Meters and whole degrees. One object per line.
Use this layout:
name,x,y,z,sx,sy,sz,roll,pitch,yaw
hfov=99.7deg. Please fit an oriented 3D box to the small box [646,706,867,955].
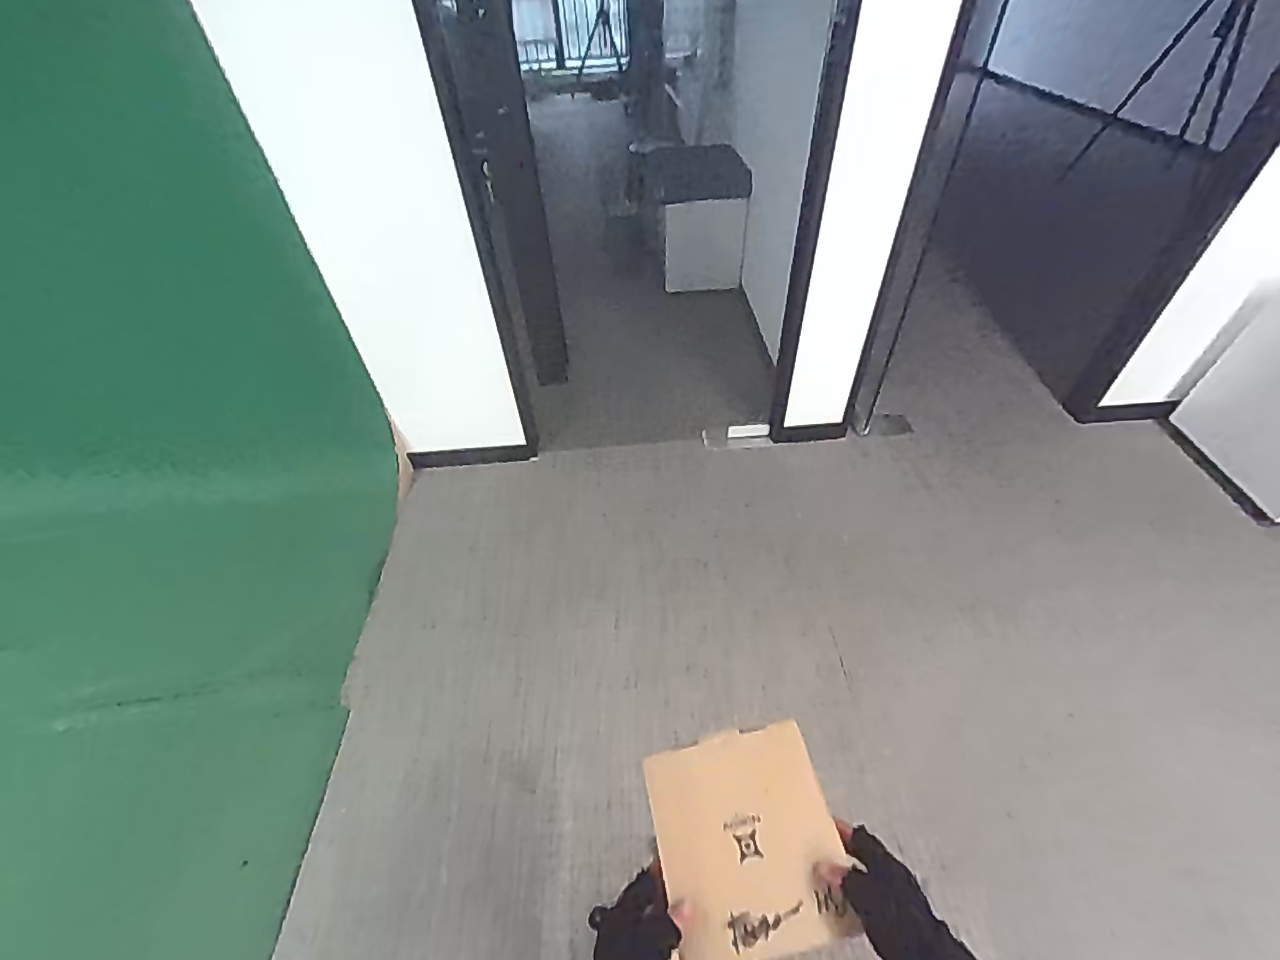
small box,0.104,0.366,0.567,0.168,0.176,0.179,-12,51,-3
